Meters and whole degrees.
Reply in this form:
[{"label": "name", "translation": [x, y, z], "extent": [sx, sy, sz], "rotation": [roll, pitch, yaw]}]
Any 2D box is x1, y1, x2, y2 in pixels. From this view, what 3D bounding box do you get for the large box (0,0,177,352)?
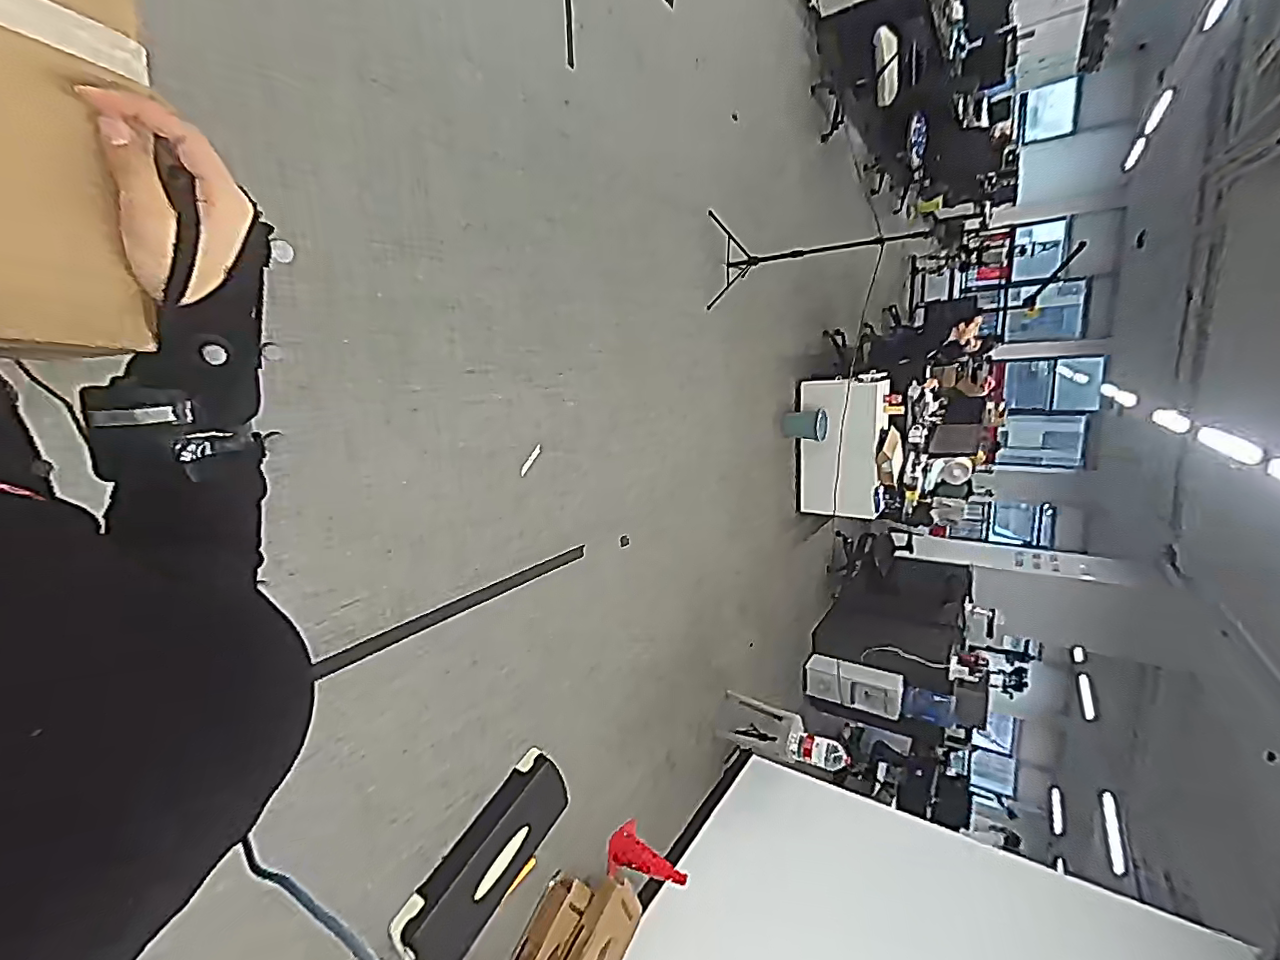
[{"label": "large box", "translation": [-0.519, -0.235, 0.240], "extent": [0.408, 0.320, 0.320], "rotation": [-7, 104, -54]}]
